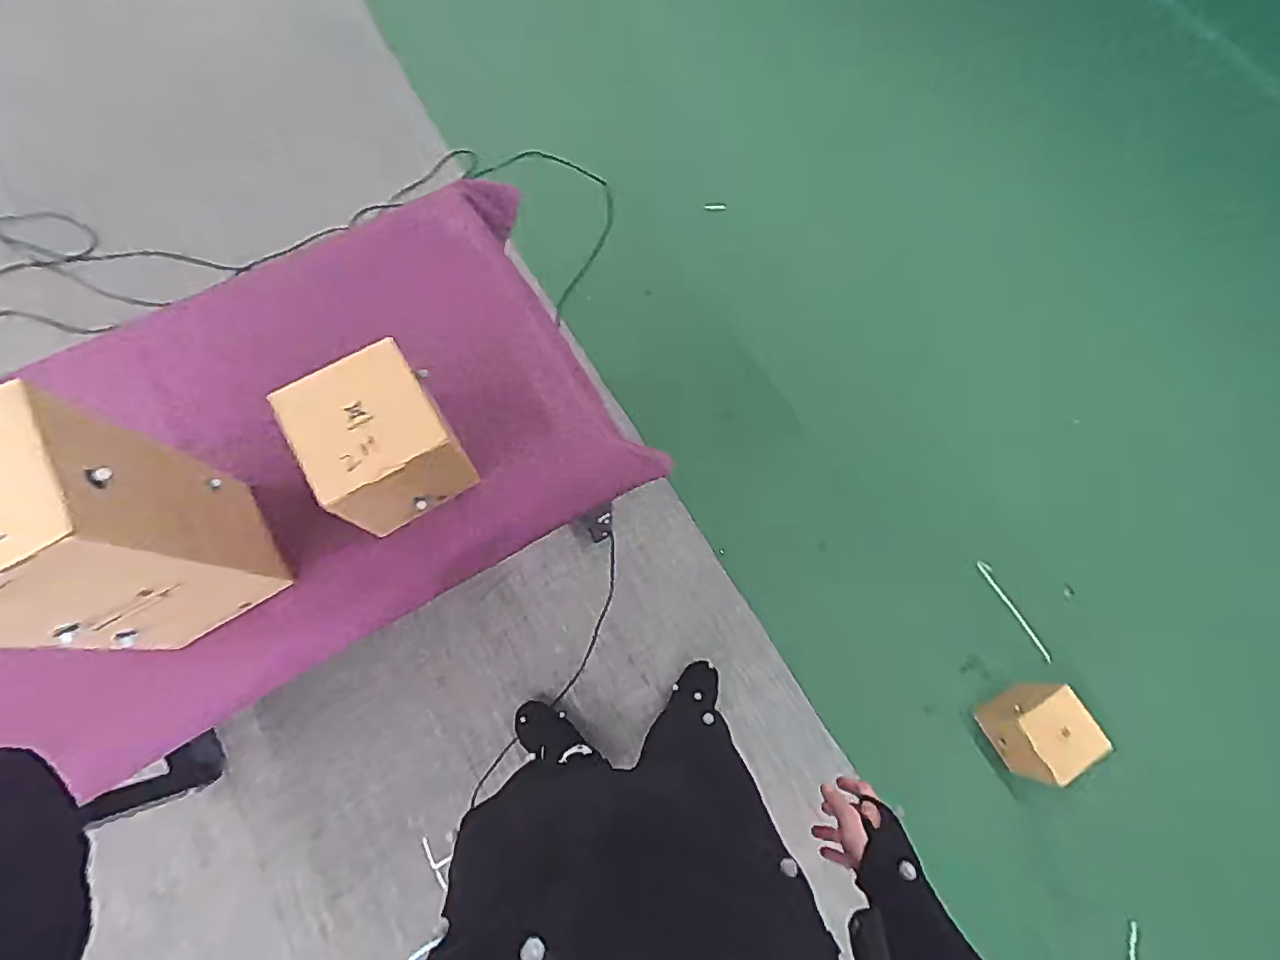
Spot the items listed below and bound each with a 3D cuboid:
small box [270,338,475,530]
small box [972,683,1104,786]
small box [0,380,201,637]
[{"bbox_3d":[-0.355,-0.054,0.747,0.168,0.176,0.179,-31,76,-11],"label":"small box"},{"bbox_3d":[1.009,0.640,1.386,0.179,0.176,0.168,-28,77,-11],"label":"small box"},{"bbox_3d":[-0.590,0.040,0.532,0.168,0.176,0.179,-31,76,-12],"label":"small box"}]
